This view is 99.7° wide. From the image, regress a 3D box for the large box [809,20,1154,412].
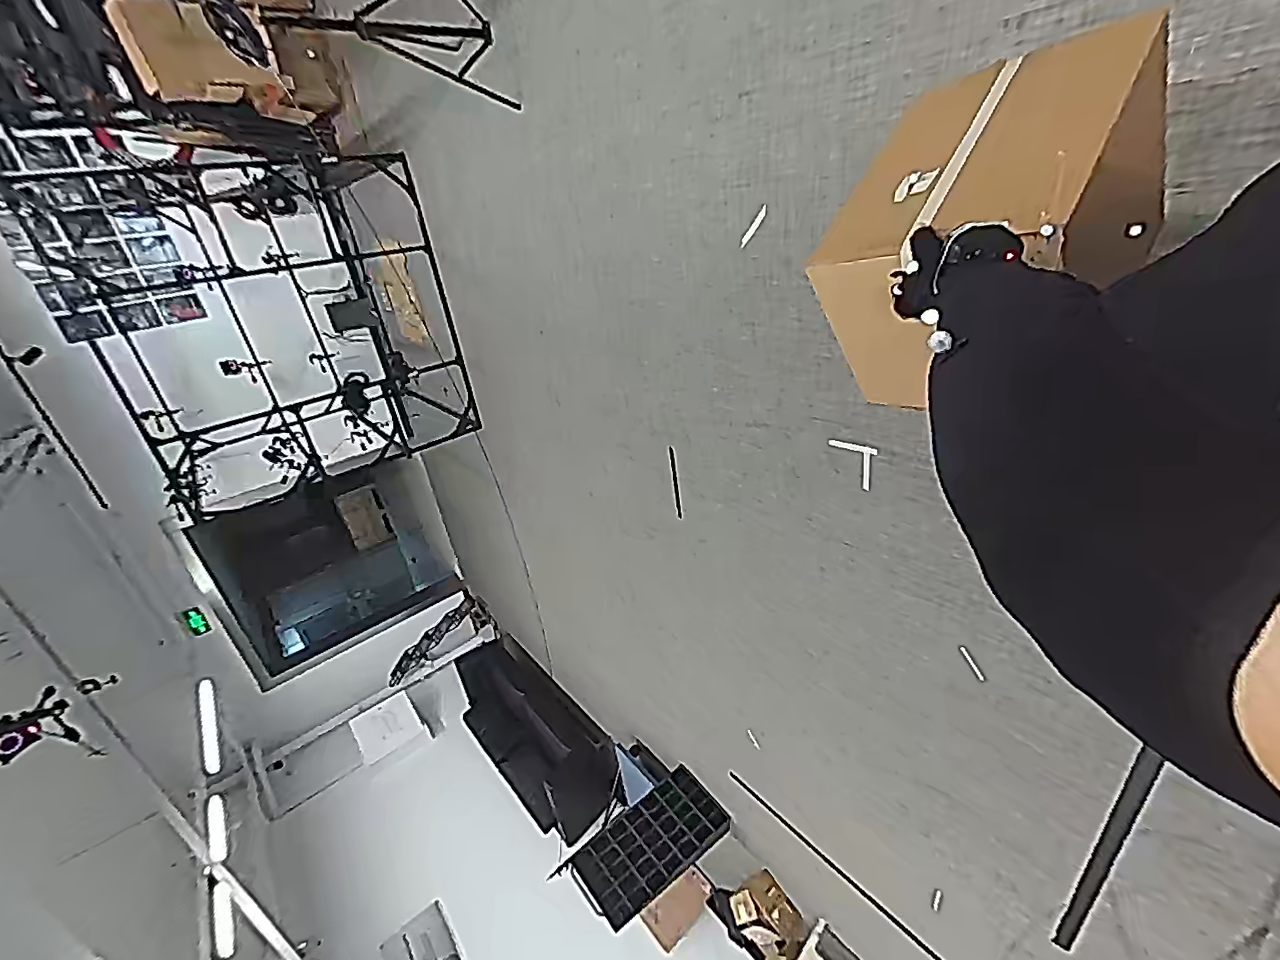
[{"bbox_3d":[0.532,-0.364,0.833,0.320,0.408,0.320,16,159,50],"label":"large box"}]
